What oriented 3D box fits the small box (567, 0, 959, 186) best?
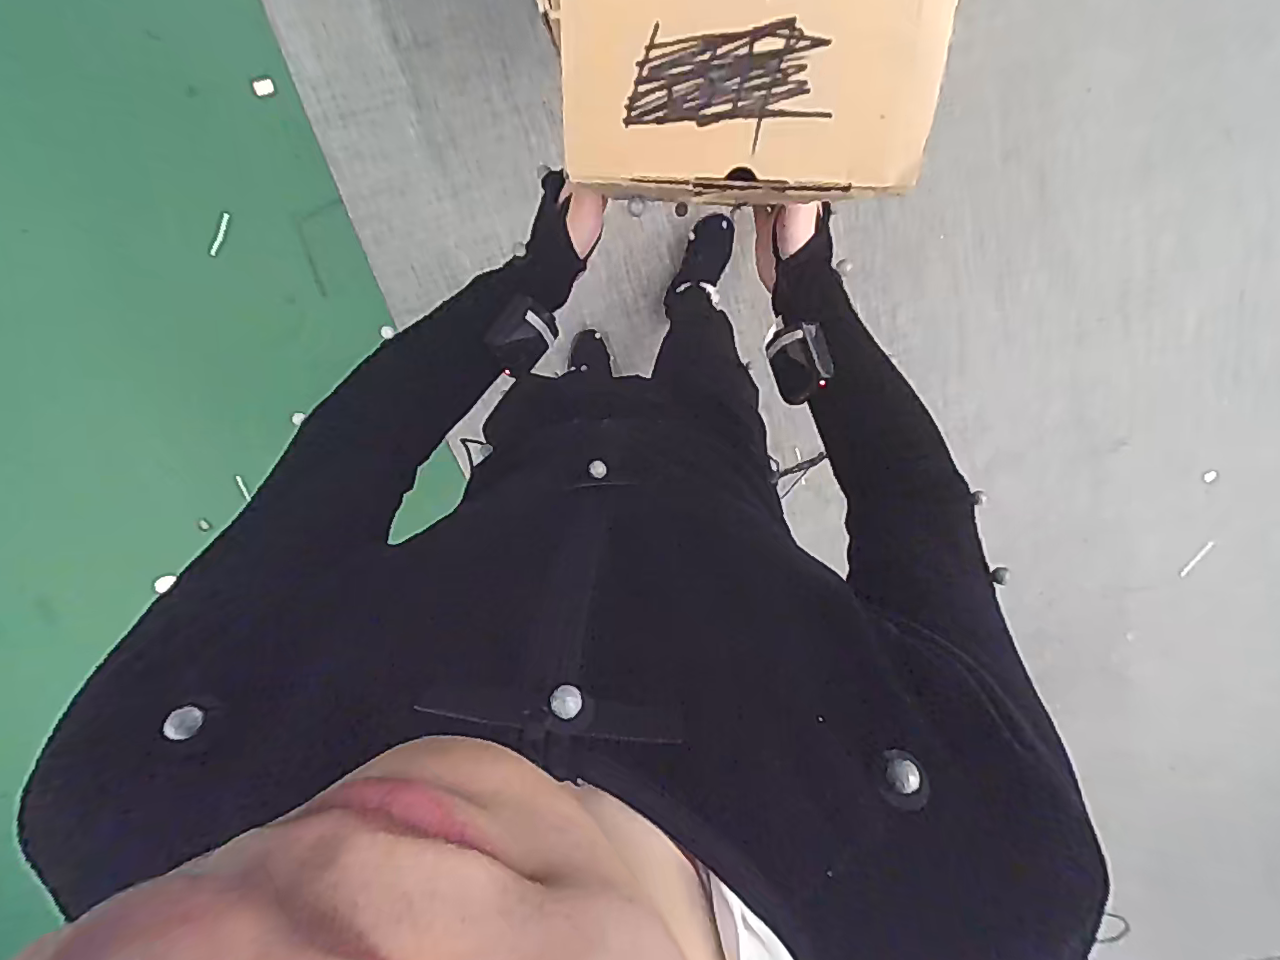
[{"bbox_3d":[0.054,-0.259,0.286,0.168,0.176,0.179,2,116,-1],"label":"small box"}]
